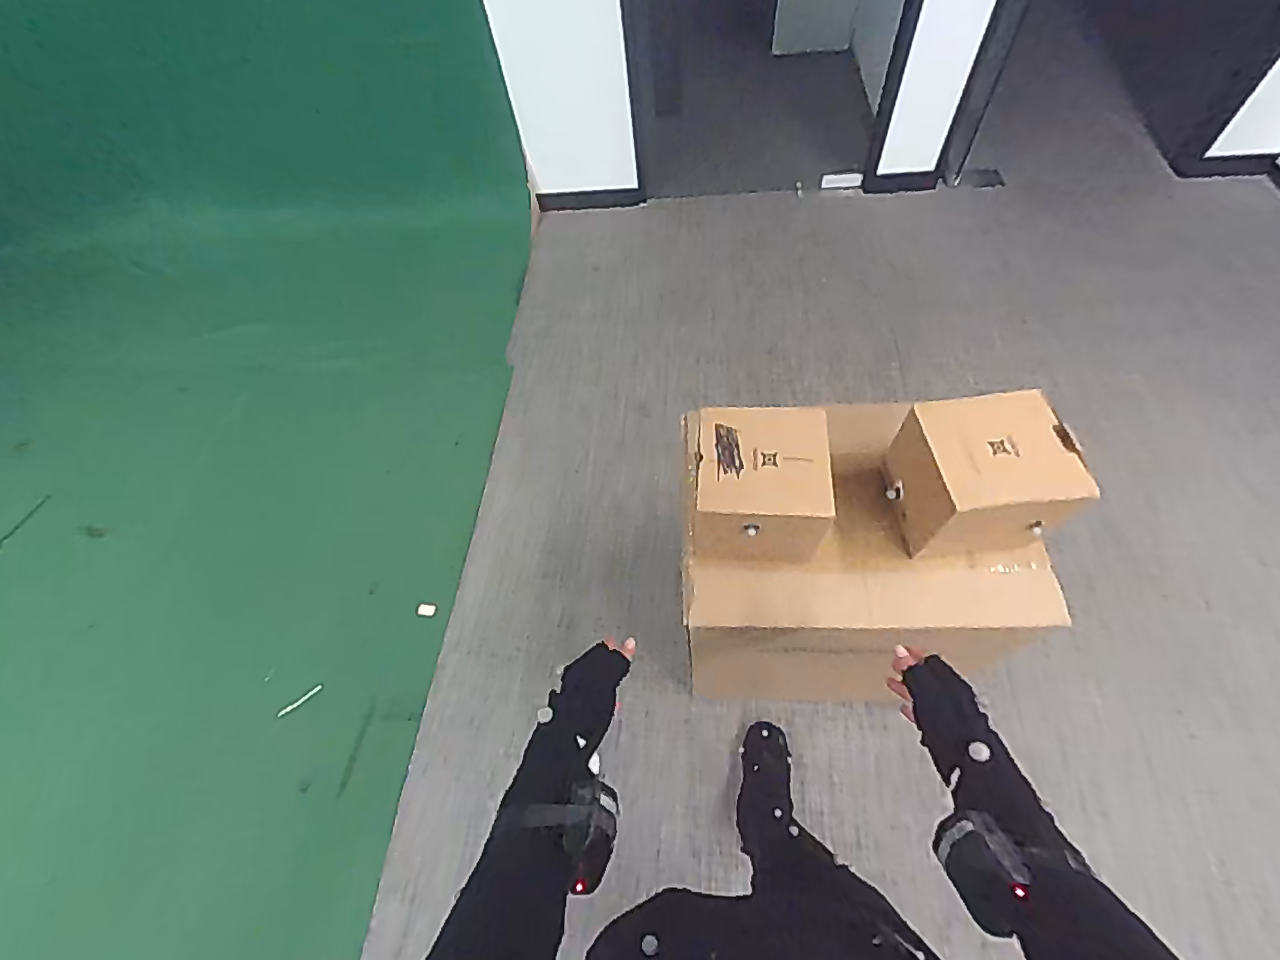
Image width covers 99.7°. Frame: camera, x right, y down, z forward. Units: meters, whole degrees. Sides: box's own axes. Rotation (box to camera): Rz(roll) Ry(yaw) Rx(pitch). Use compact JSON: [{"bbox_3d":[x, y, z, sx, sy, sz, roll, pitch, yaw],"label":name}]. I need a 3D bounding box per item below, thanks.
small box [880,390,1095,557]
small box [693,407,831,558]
[{"bbox_3d":[0.470,-0.003,0.766,0.179,0.176,0.168,-8,60,3],"label":"small box"},{"bbox_3d":[0.172,0.009,0.794,0.179,0.176,0.168,1,62,8],"label":"small box"}]
